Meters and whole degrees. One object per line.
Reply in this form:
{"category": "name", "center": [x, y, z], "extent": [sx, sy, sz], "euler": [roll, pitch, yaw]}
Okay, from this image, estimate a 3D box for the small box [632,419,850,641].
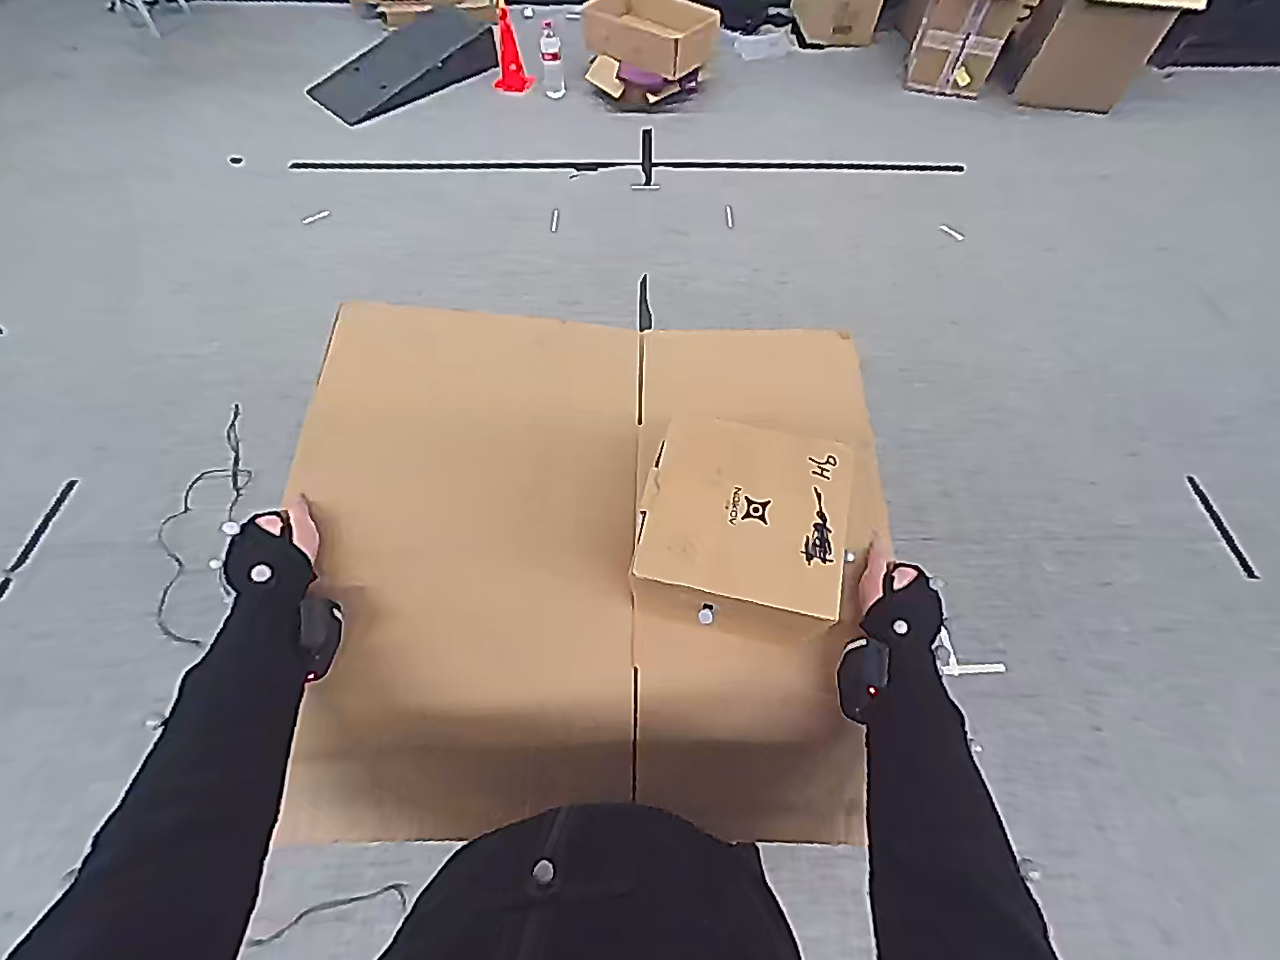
{"category": "small box", "center": [0.101, 0.060, 0.561], "extent": [0.179, 0.176, 0.168], "euler": [11, 67, 9]}
